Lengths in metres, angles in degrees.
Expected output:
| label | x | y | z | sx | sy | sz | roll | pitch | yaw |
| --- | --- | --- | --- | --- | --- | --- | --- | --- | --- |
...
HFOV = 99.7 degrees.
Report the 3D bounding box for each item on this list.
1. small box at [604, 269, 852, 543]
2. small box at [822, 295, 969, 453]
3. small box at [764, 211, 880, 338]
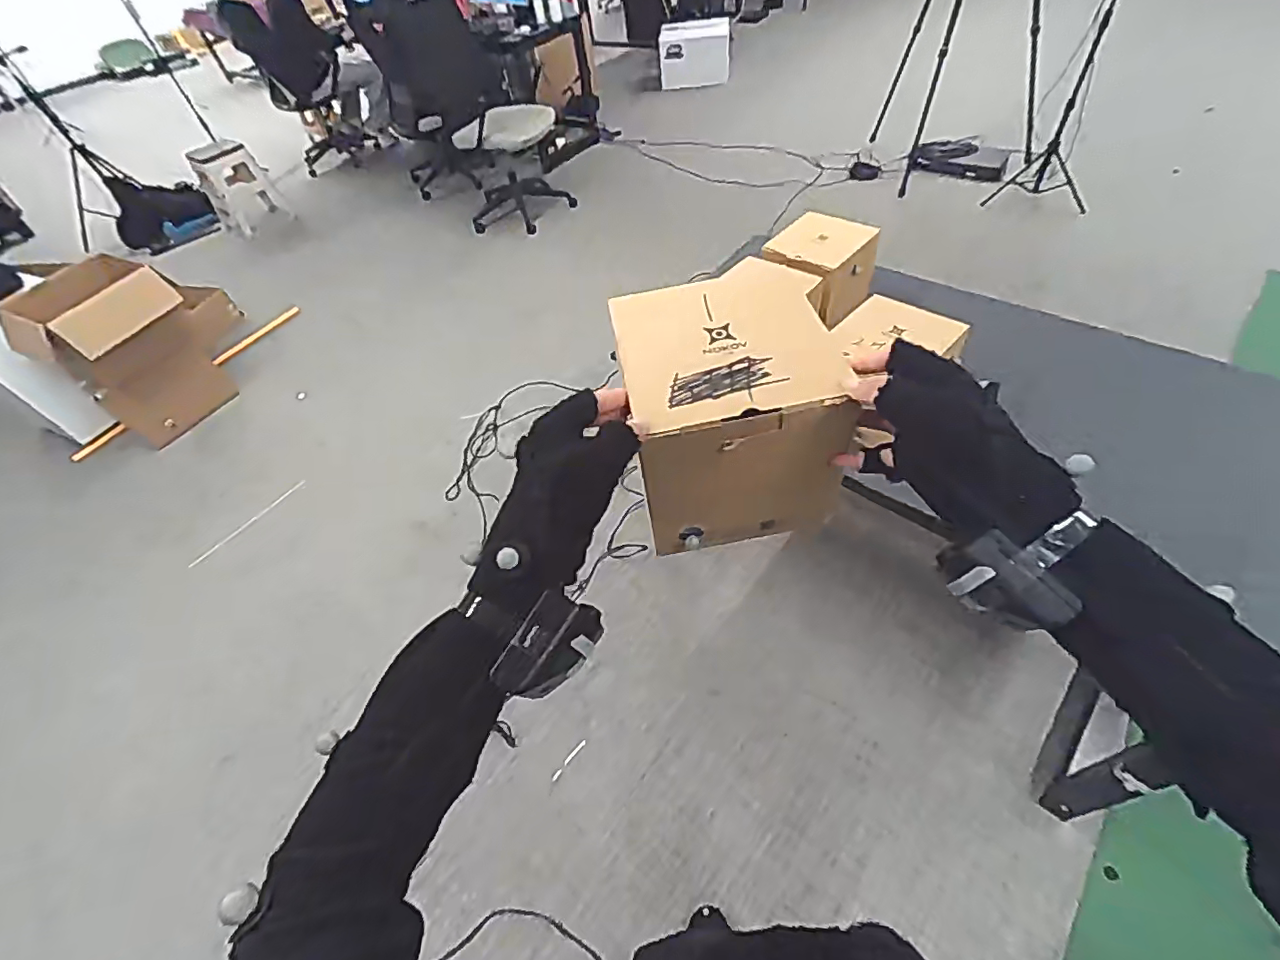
| label | x | y | z | sx | sy | sz | roll | pitch | yaw |
| --- | --- | --- | --- | --- | --- | --- | --- | --- | --- |
| small box | 0.069 | -0.058 | 0.494 | 0.168 | 0.176 | 0.179 | -11 | 51 | -1 |
| small box | 0.414 | -0.180 | 0.924 | 0.179 | 0.176 | 0.168 | -40 | 56 | -23 |
| small box | 0.370 | -0.431 | 1.139 | 0.168 | 0.176 | 0.179 | 33 | 63 | 30 |
